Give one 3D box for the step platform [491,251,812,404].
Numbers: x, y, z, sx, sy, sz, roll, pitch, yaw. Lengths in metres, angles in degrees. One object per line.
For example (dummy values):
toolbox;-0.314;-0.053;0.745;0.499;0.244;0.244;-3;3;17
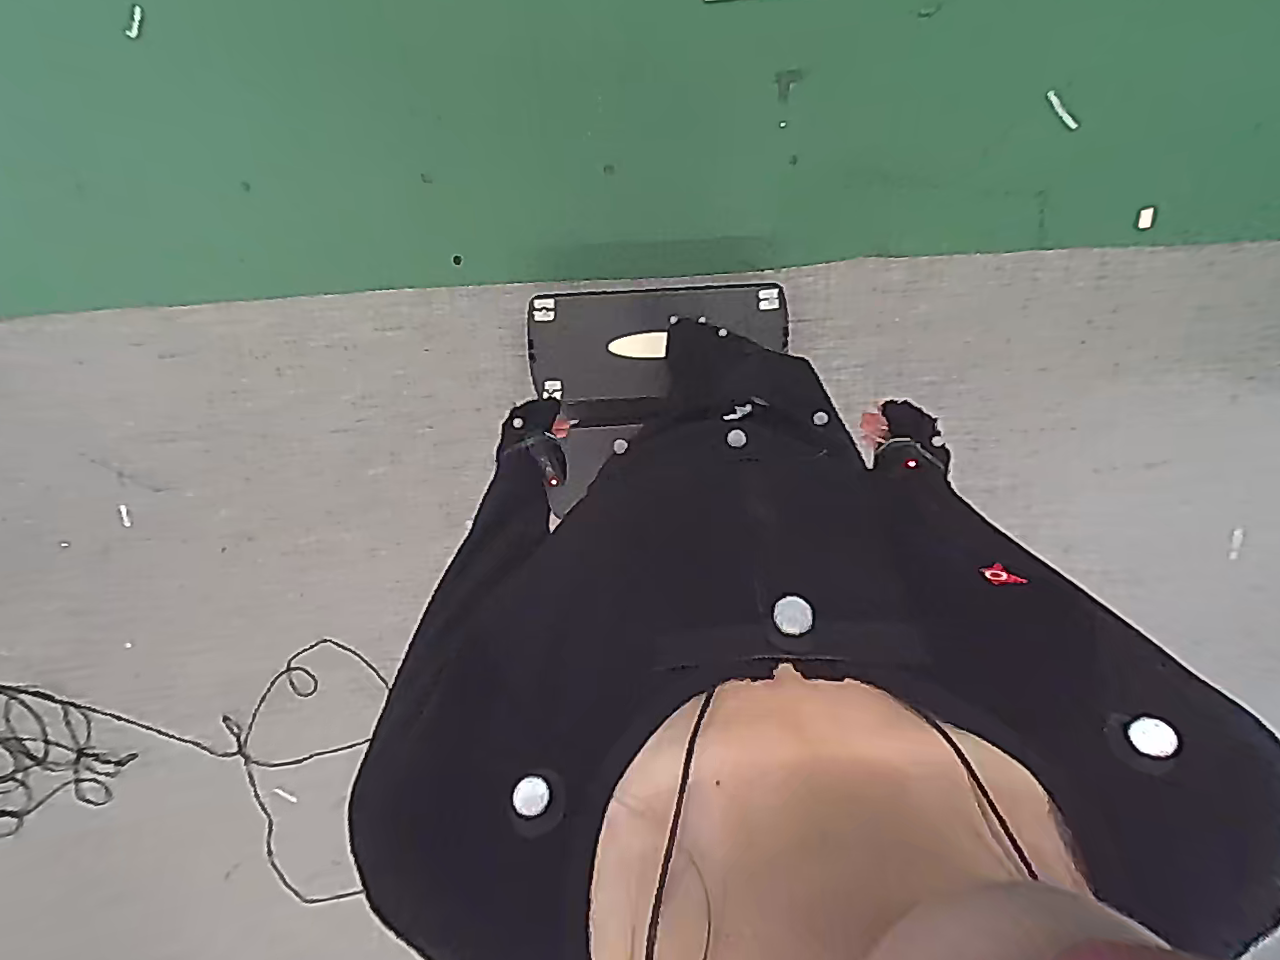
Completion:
step platform;0.025;-0.342;1.239;0.684;0.204;0.286;-3;103;2
